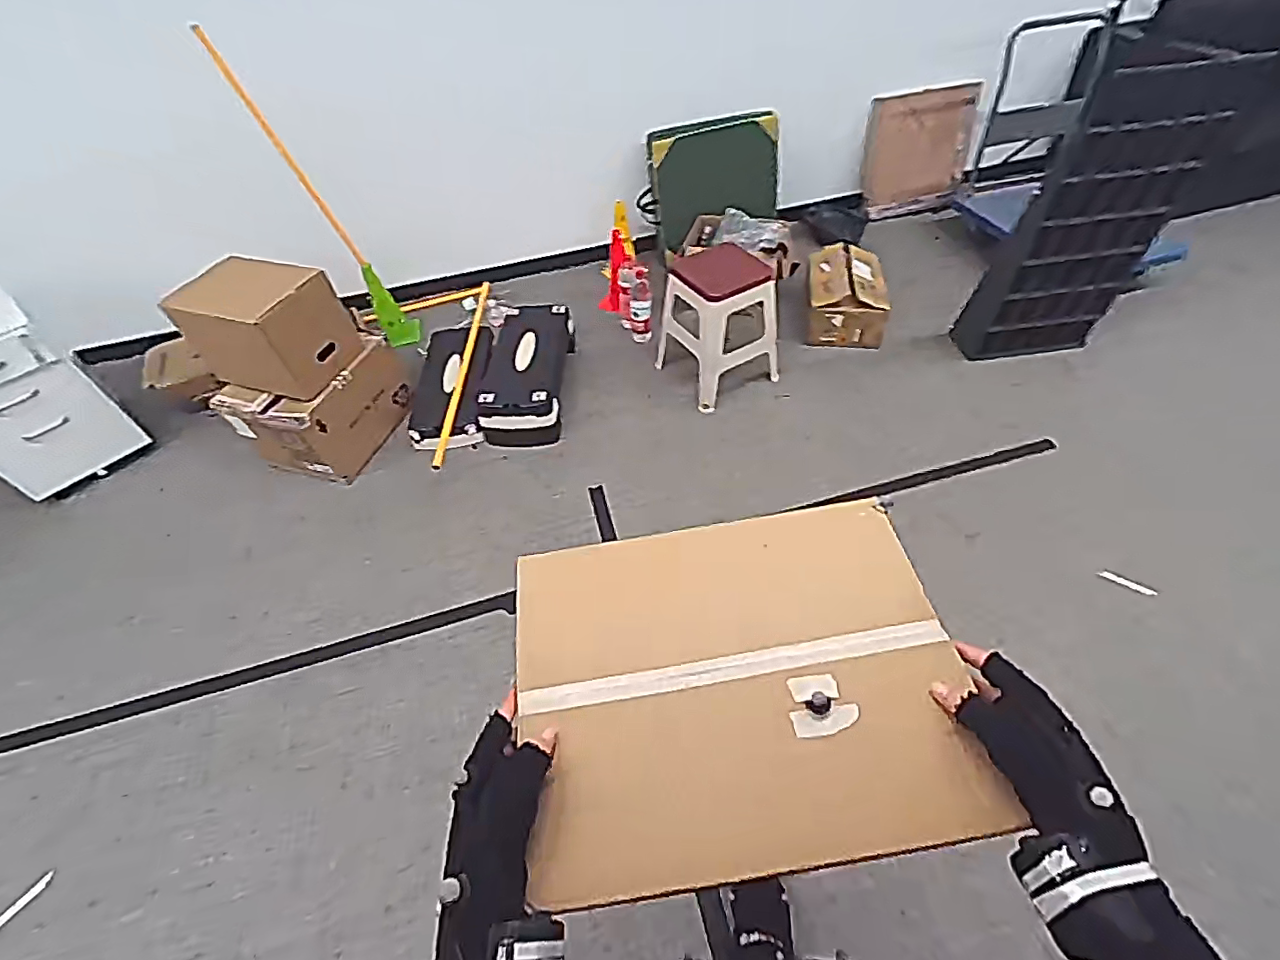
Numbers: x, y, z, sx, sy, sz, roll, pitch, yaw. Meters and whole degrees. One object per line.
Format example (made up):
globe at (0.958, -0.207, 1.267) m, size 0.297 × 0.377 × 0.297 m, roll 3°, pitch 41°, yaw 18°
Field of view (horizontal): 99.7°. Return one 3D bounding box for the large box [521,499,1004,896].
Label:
large box at (0.095, 0.265, 0.643) m, size 0.408 × 0.320 × 0.320 m, roll -10°, pitch 53°, yaw -1°
